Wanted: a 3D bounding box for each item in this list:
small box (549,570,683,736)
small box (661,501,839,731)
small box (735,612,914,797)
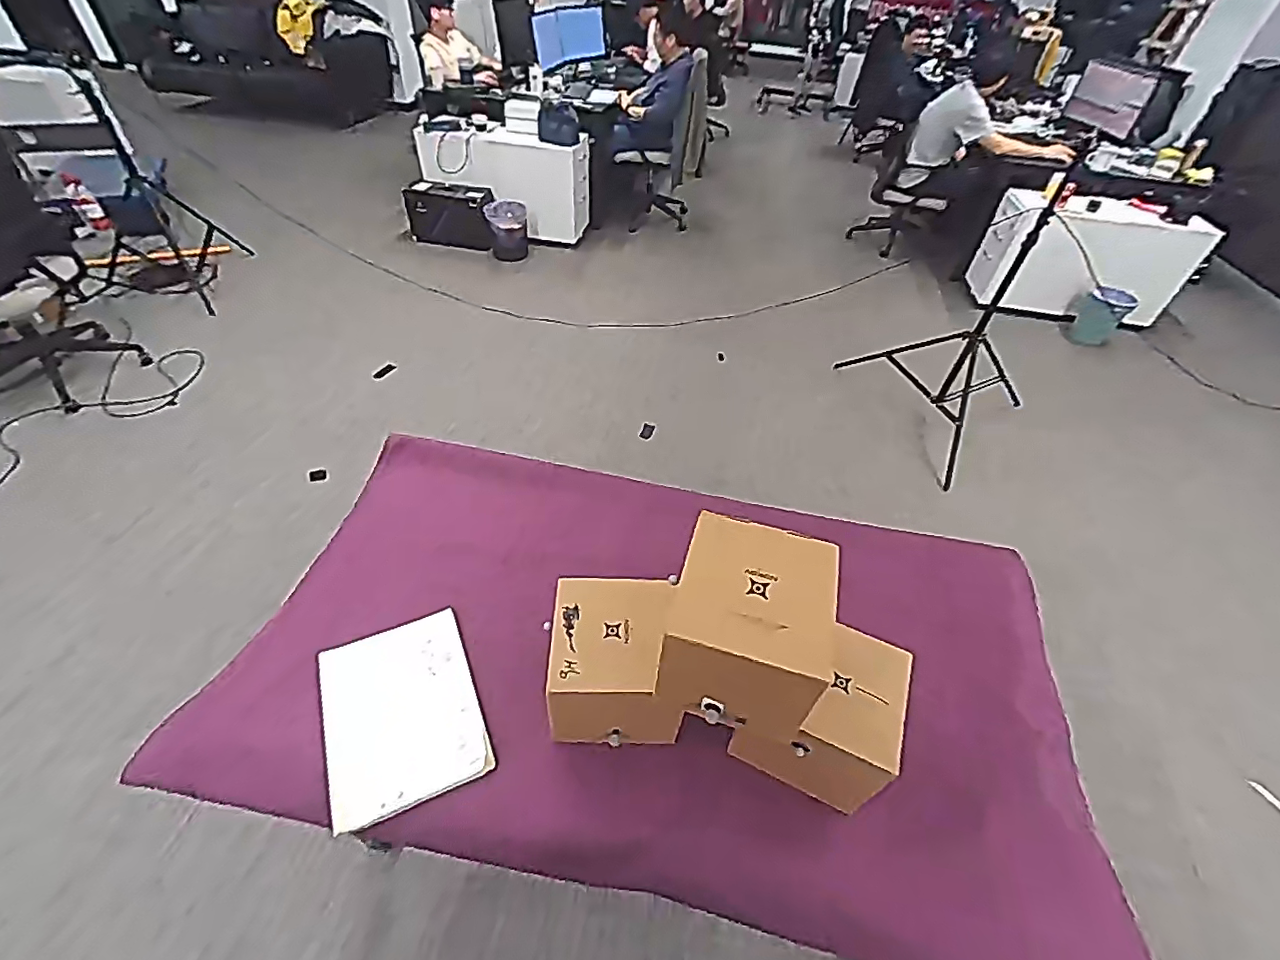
[{"bbox_3d":[-0.030,0.246,0.762,0.179,0.176,0.168,2,44,-3],"label":"small box"},{"bbox_3d":[0.123,0.158,0.632,0.168,0.176,0.179,13,46,10],"label":"small box"},{"bbox_3d":[0.242,0.294,0.733,0.179,0.176,0.168,21,47,16],"label":"small box"}]
